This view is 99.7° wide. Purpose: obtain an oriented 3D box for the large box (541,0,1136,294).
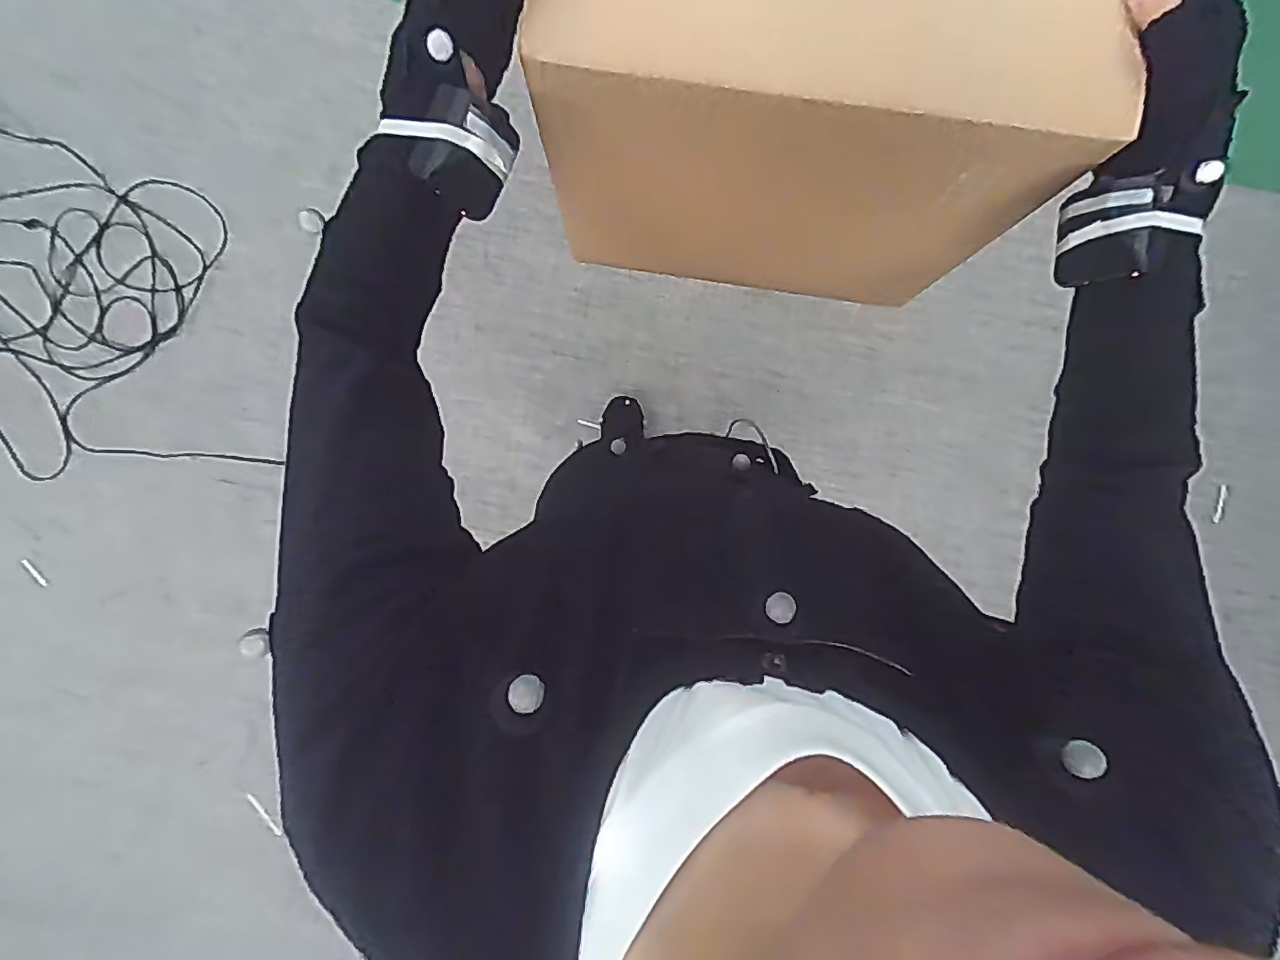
[{"bbox_3d":[0.141,-0.402,0.515,0.408,0.320,0.320,7,89,-1],"label":"large box"}]
